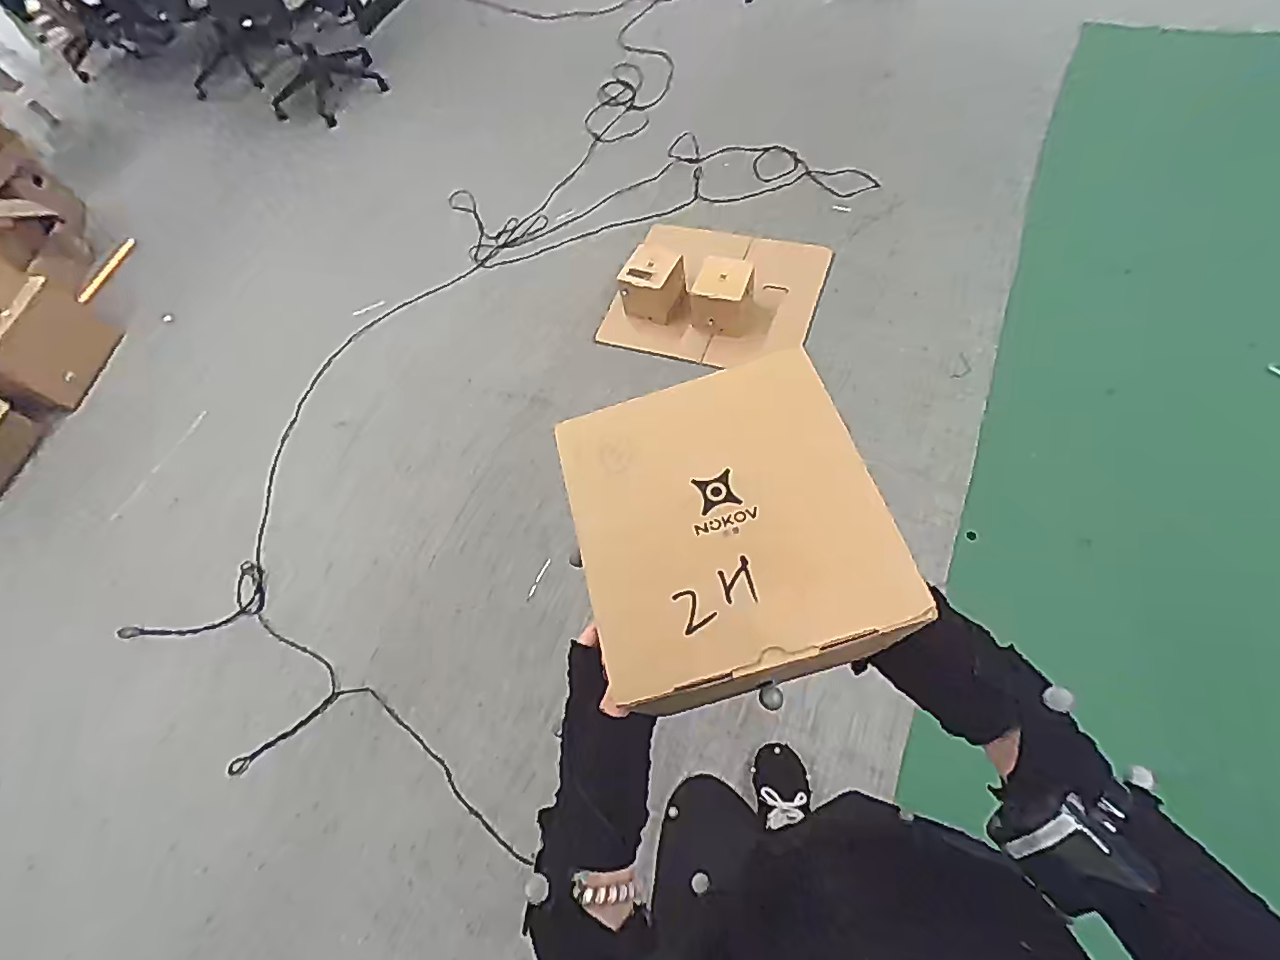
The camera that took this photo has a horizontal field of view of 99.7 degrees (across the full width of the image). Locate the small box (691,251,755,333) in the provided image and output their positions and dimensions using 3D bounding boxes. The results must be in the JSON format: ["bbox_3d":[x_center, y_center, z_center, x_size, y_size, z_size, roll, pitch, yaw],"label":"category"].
[{"bbox_3d":[0.274,-0.620,1.786,0.168,0.176,0.179,15,68,16],"label":"small box"}]

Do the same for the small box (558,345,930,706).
[{"bbox_3d":[0.057,0.045,0.375,0.168,0.176,0.179,-18,64,3],"label":"small box"}]
